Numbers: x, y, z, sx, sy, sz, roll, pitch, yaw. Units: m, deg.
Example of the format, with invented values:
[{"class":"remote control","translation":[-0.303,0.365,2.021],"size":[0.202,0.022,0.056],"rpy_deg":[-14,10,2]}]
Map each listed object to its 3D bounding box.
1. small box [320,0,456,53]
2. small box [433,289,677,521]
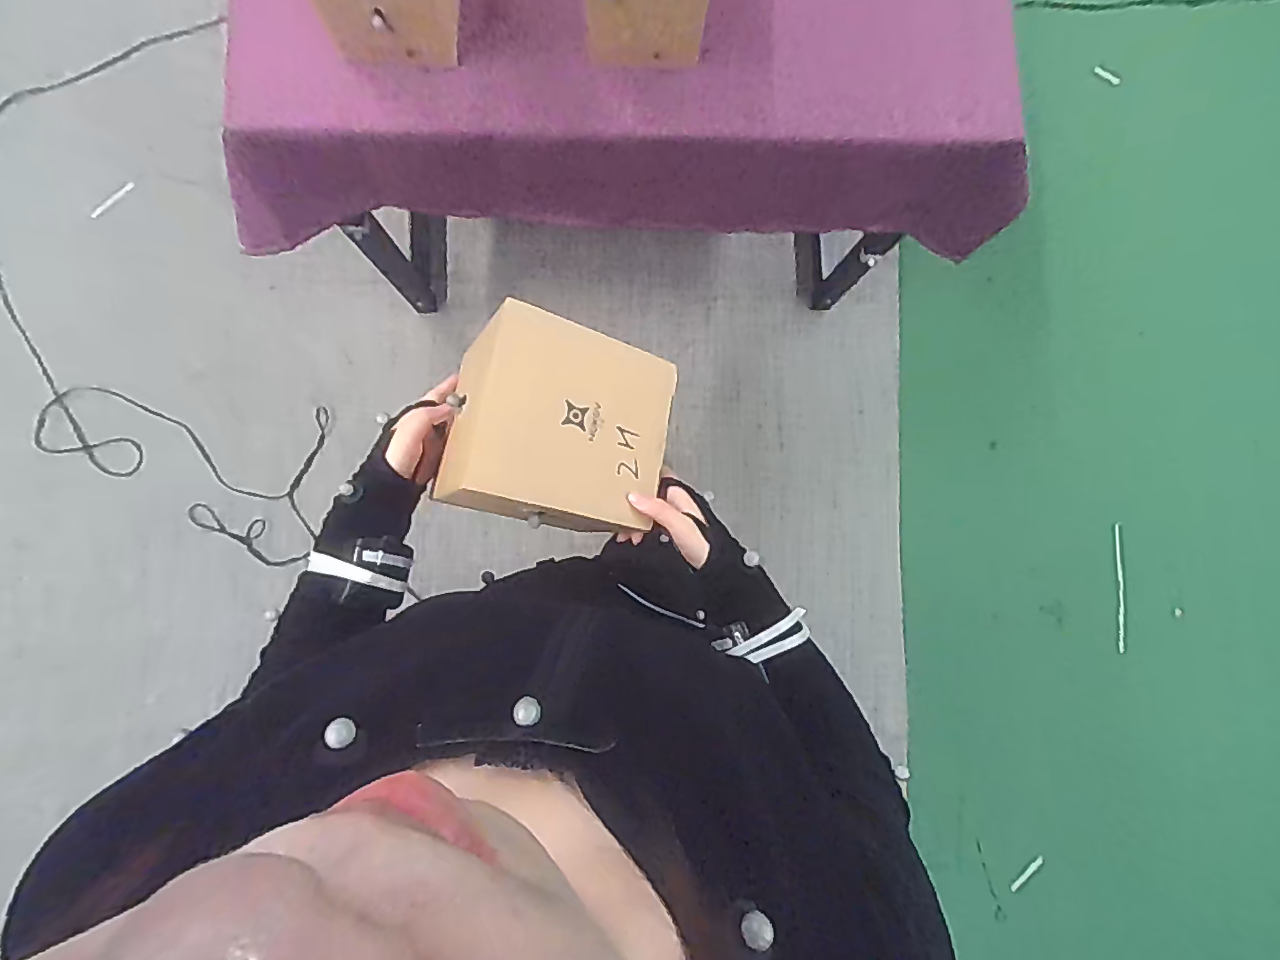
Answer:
[{"class":"small box","translation":[-0.343,-0.714,0.712],"size":[0.168,0.176,0.179],"rpy_deg":[2,87,-5]},{"class":"small box","translation":[-0.092,-0.055,0.543],"size":[0.179,0.176,0.168],"rpy_deg":[17,79,-29]}]
